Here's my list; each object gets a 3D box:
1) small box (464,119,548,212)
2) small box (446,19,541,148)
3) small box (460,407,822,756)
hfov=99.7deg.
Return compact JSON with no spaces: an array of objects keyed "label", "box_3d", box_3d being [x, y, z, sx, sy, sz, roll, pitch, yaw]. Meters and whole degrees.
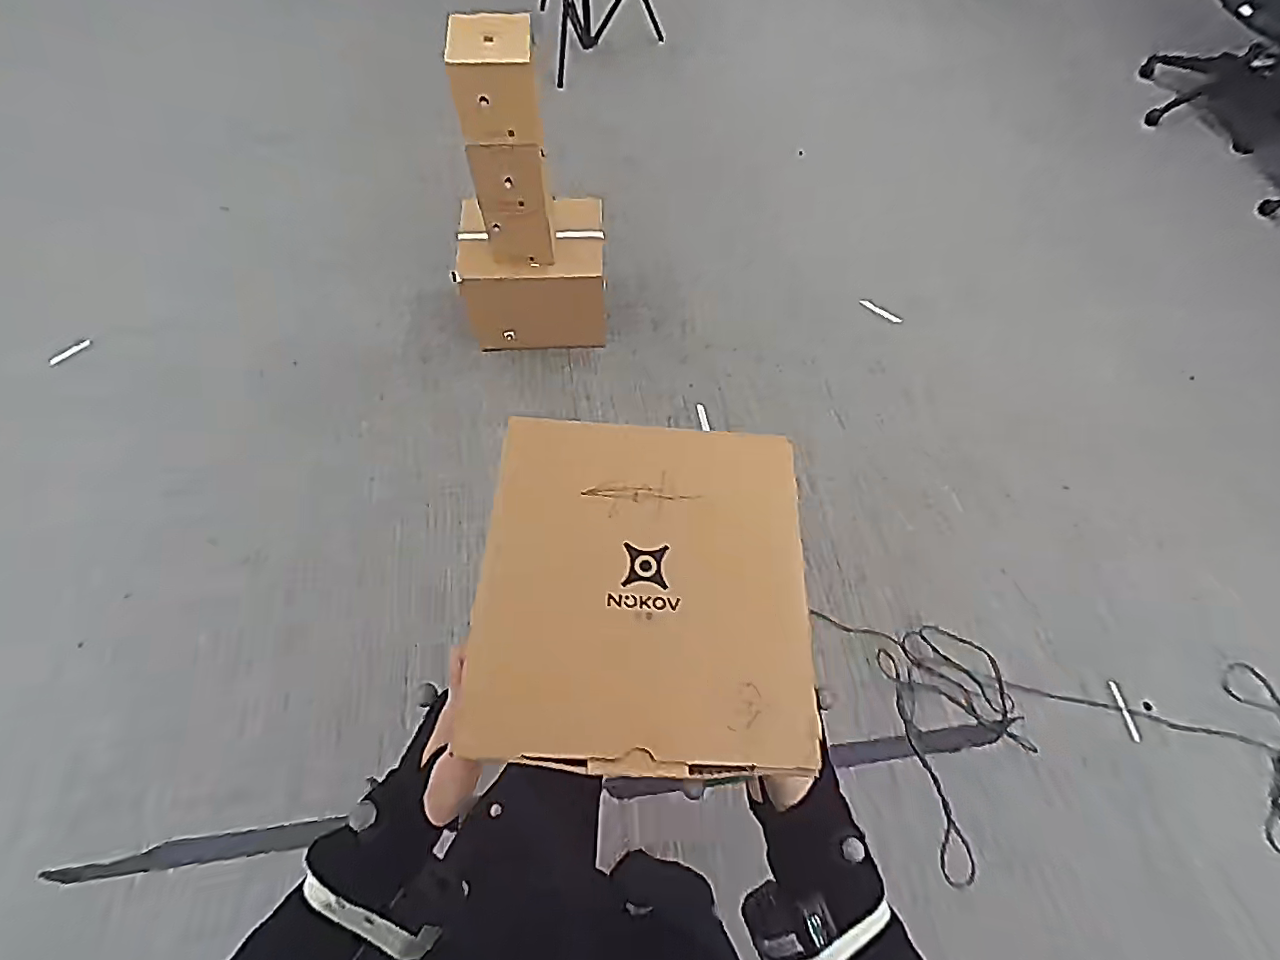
[{"label":"small box","box_3d":[-0.313,-0.770,1.299,0.168,0.176,0.179,-2,66,-4]},{"label":"small box","box_3d":[-0.303,-0.836,1.150,0.168,0.176,0.179,-4,65,-4]},{"label":"small box","box_3d":[-0.001,0.076,0.347,0.168,0.176,0.179,4,63,-4]}]
